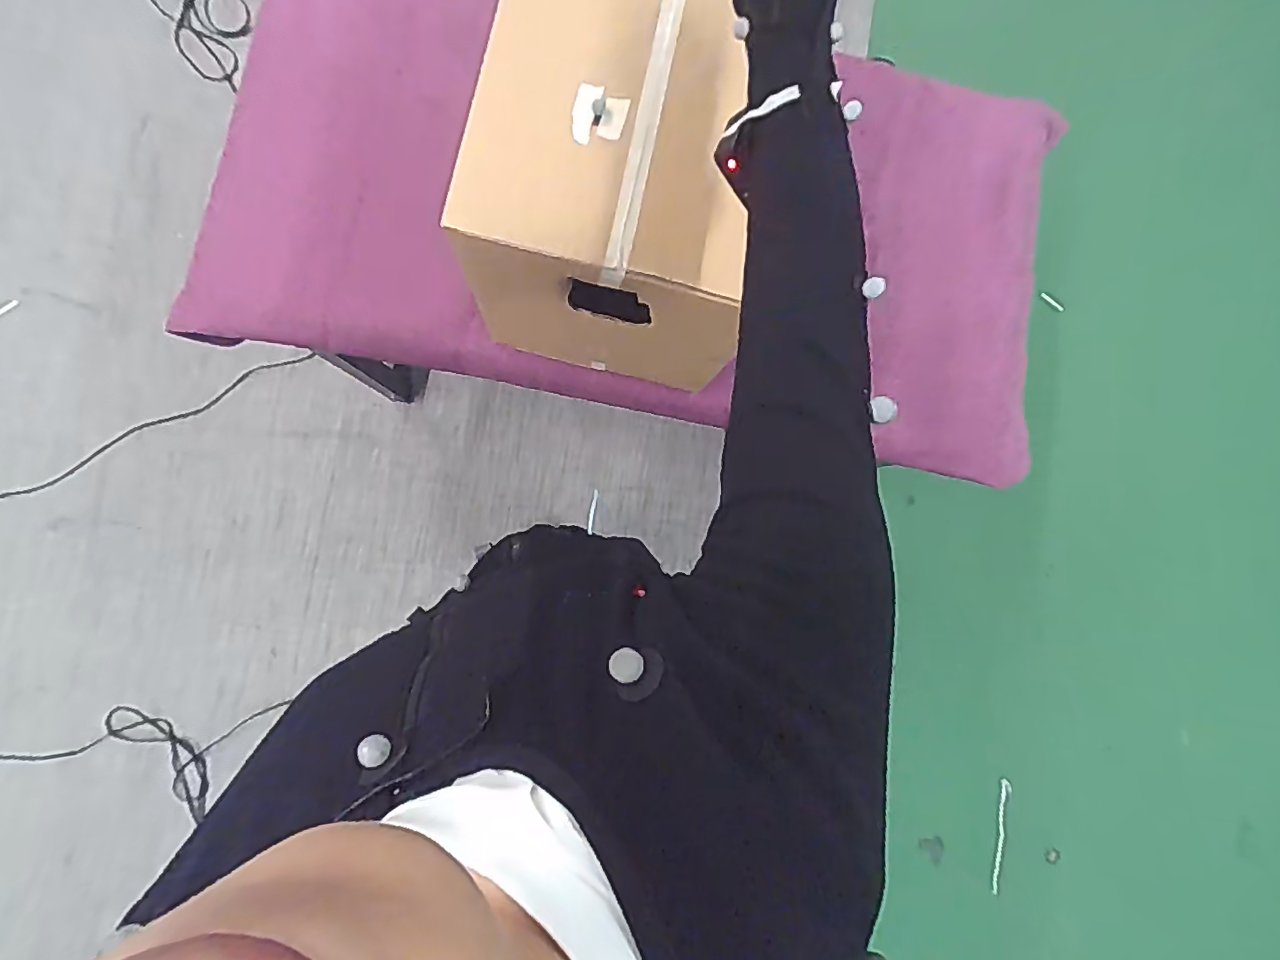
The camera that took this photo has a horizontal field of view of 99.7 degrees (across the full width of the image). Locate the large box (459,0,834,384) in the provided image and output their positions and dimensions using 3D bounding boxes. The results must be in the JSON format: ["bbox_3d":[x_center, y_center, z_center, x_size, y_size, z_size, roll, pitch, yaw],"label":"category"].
[{"bbox_3d":[0.002,-0.376,0.669,0.320,0.320,0.408,13,85,-6],"label":"large box"}]
